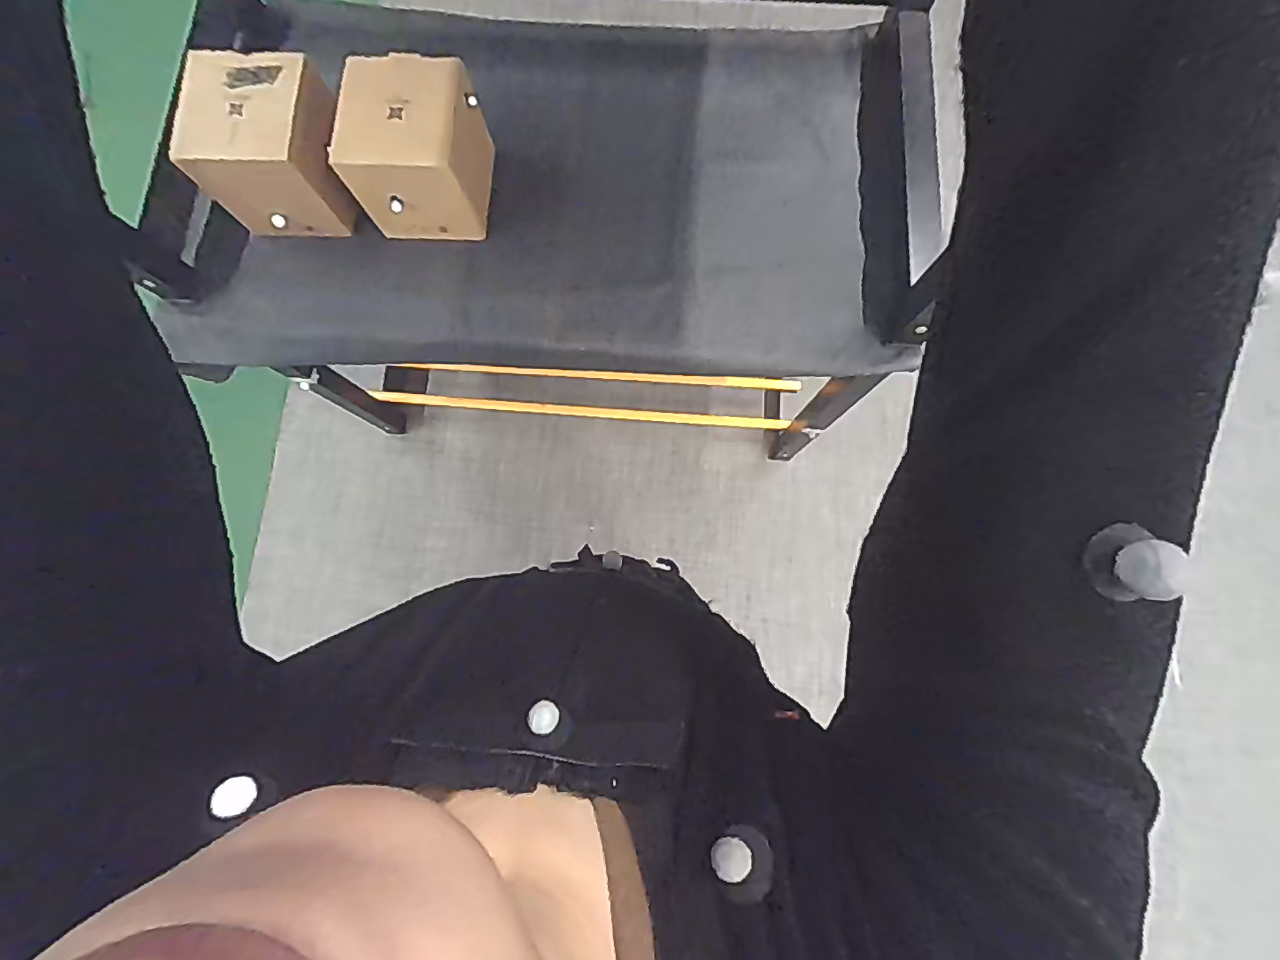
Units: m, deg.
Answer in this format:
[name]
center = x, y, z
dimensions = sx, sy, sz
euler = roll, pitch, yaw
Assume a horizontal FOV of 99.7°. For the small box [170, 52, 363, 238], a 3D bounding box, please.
[small box]
center = -0.548, -0.499, 0.822
dimensions = 0.168, 0.176, 0.179
euler = 2, 80, 1
